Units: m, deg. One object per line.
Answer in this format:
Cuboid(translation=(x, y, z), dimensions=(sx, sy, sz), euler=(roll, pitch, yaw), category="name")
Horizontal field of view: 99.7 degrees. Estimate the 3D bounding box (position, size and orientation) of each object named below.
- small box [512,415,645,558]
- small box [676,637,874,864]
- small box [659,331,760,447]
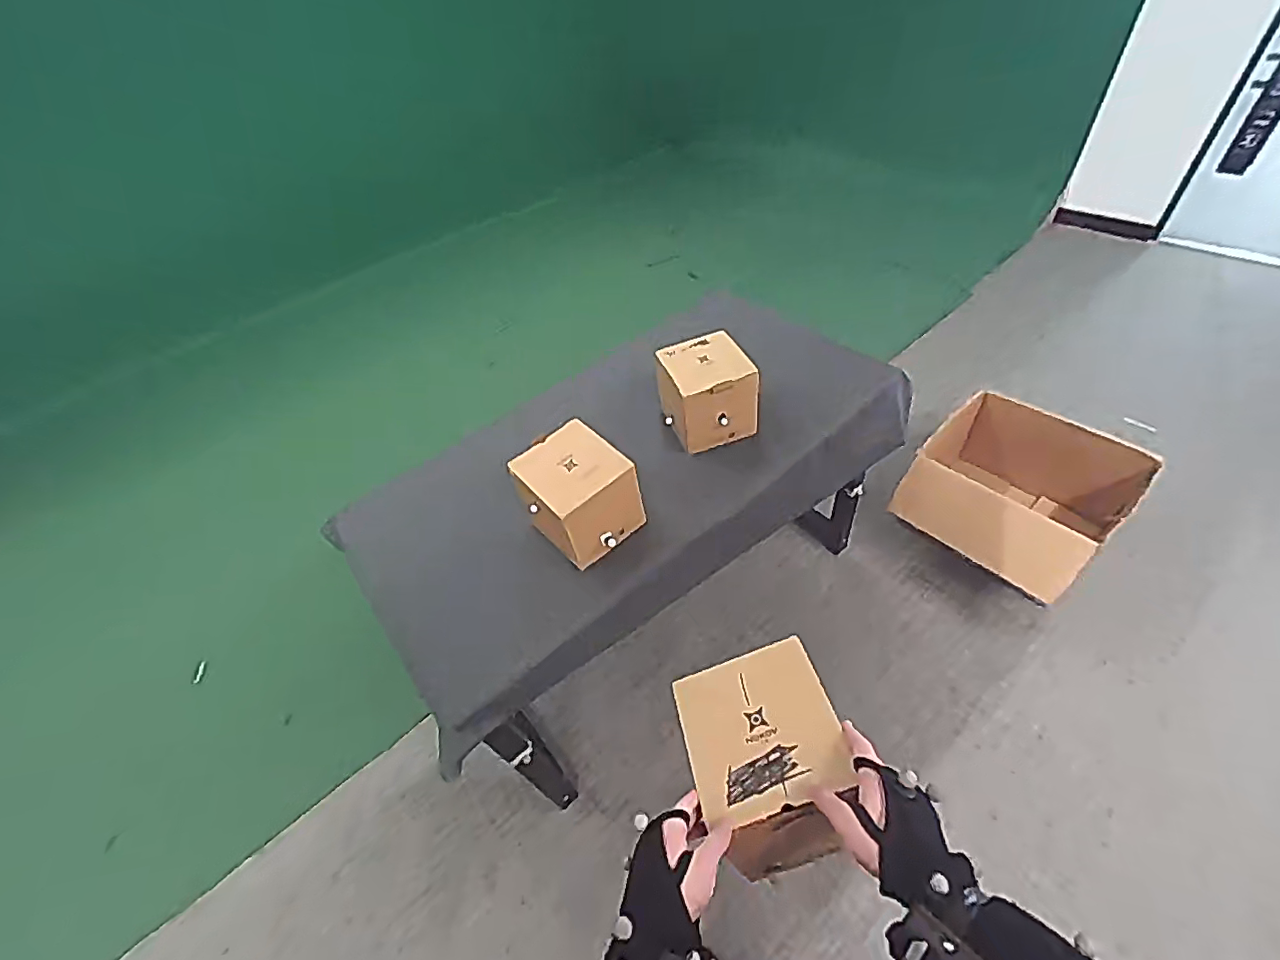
Cuboid(translation=(-0.110, 0.014, 1.023), dimensions=(0.168, 0.176, 0.179), euler=(-37, 53, -22), category="small box")
Cuboid(translation=(0.160, 0.327, 0.645), dimensions=(0.168, 0.176, 0.179), euler=(-22, 37, 5), category="small box")
Cuboid(translation=(0.151, -0.192, 1.188), dimensions=(0.168, 0.176, 0.179), euler=(-18, 48, -7), category="small box")
